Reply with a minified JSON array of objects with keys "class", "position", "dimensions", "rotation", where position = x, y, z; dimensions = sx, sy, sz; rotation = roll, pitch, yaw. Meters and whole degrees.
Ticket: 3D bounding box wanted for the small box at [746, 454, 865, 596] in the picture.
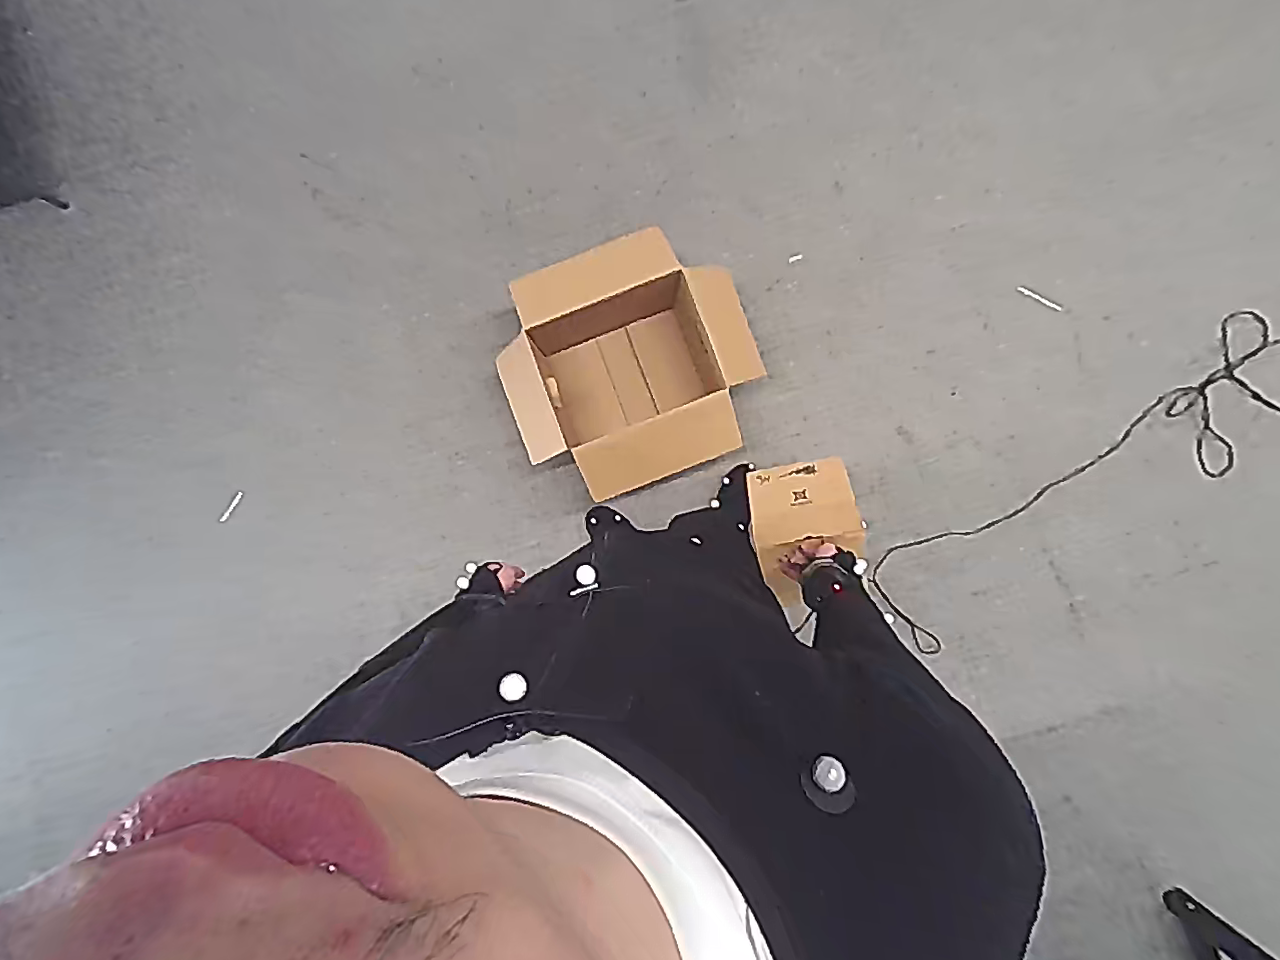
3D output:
[{"class":"small box","position":[0.285,0.086,0.935],"dimensions":[0.168,0.179,0.176],"rotation":[-10,132,14]}]
